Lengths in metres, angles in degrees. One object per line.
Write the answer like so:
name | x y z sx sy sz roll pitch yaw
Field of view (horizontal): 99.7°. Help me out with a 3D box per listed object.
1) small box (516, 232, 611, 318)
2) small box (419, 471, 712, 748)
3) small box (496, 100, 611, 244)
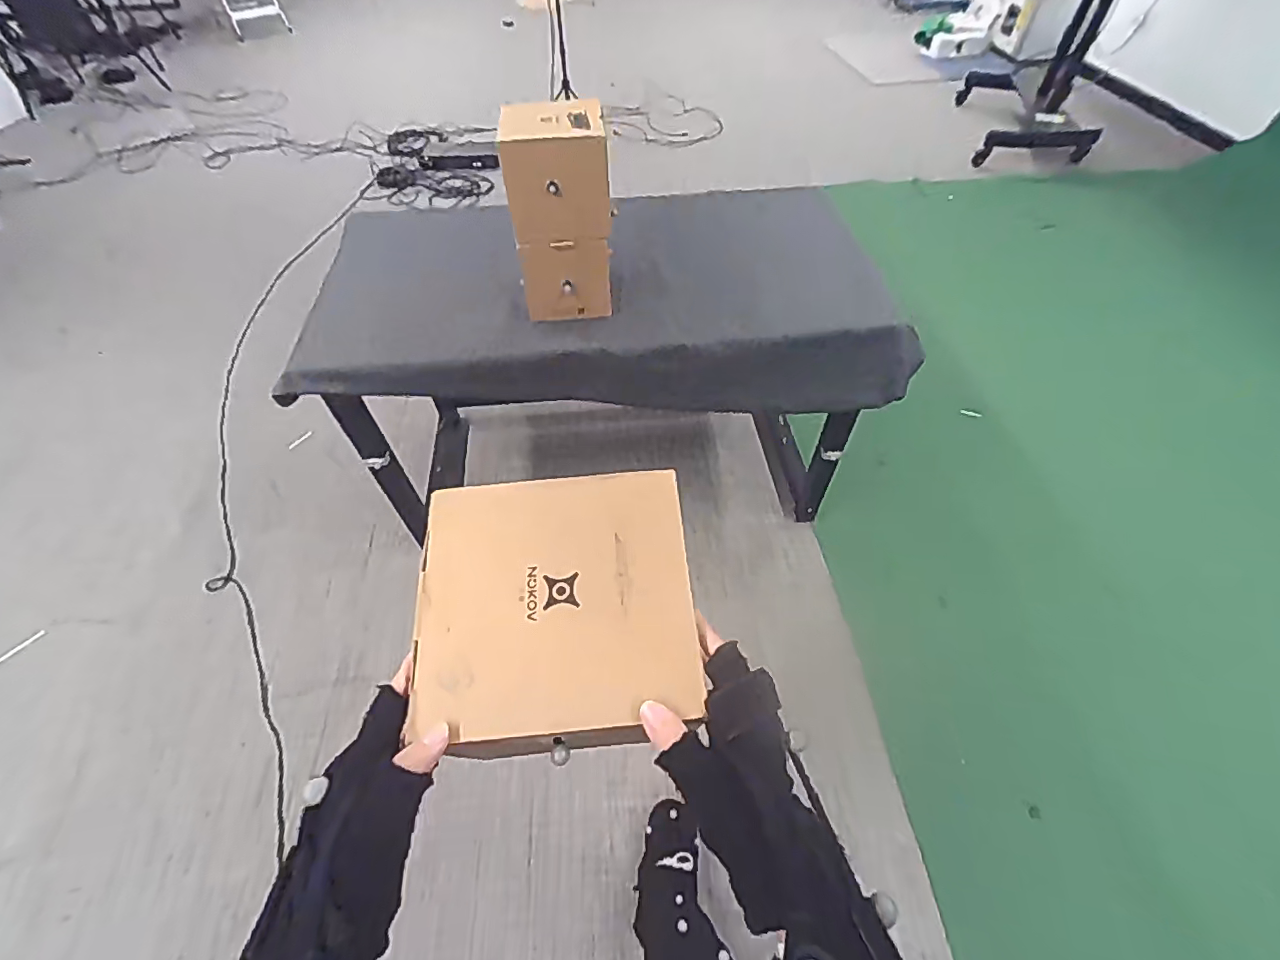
small box | -0.149 -0.441 1.085 0.168 0.176 0.179 -6 53 -4
small box | -0.050 0.109 0.423 0.179 0.176 0.168 -5 63 -4
small box | -0.143 -0.539 0.952 0.179 0.176 0.168 -5 52 -2
